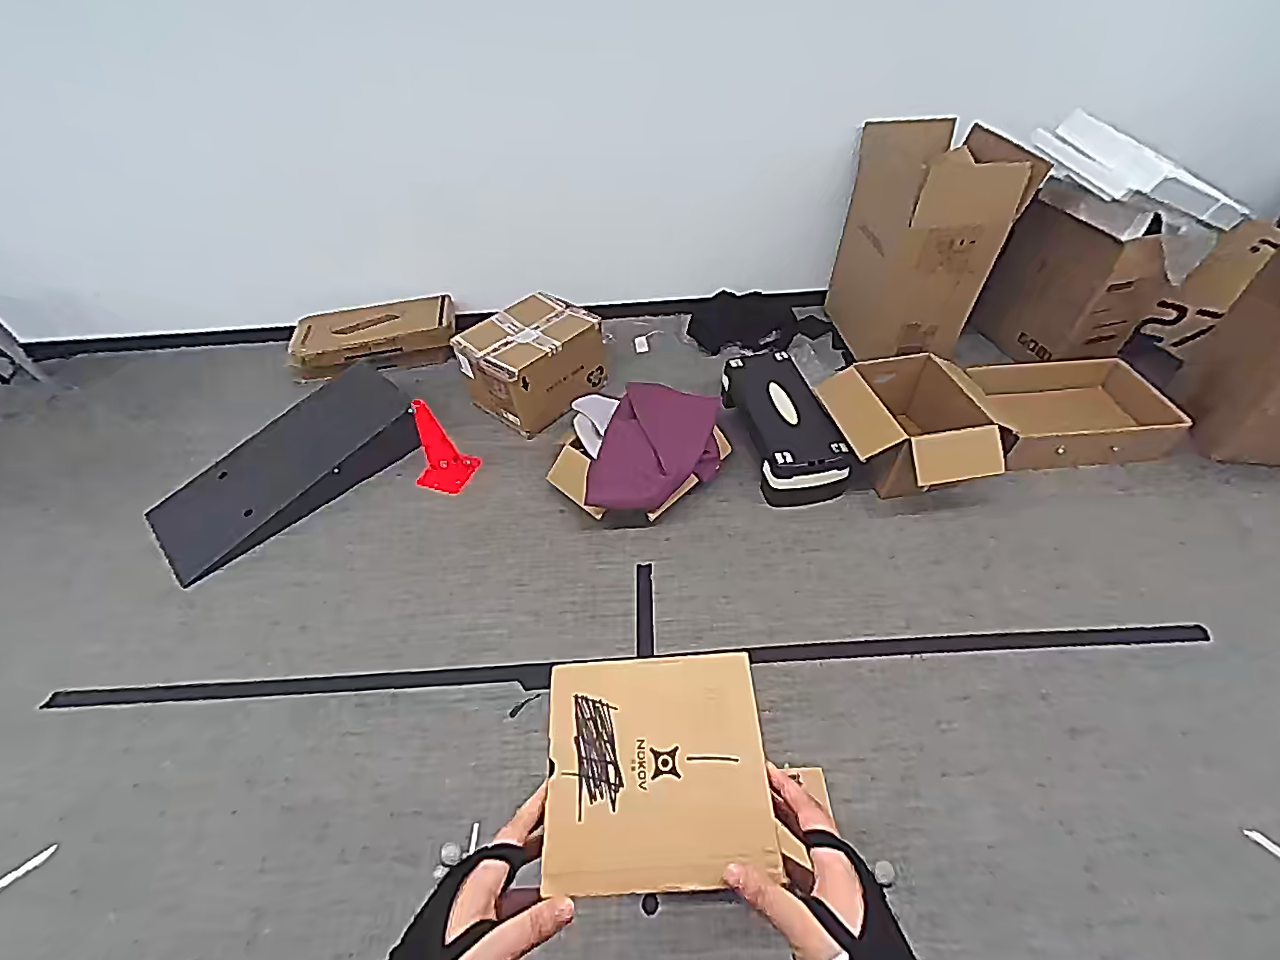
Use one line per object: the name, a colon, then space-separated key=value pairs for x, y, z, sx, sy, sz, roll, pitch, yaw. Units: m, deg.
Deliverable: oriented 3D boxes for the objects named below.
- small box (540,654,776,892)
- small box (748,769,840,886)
small box: x=0.019 y=0.275 z=0.500 sx=0.179 sy=0.176 sz=0.168 roll=-5 pitch=53 yaw=3
small box: x=0.278 y=0.690 z=1.068 sx=0.168 sy=0.176 sz=0.179 roll=-3 pitch=48 yaw=1
